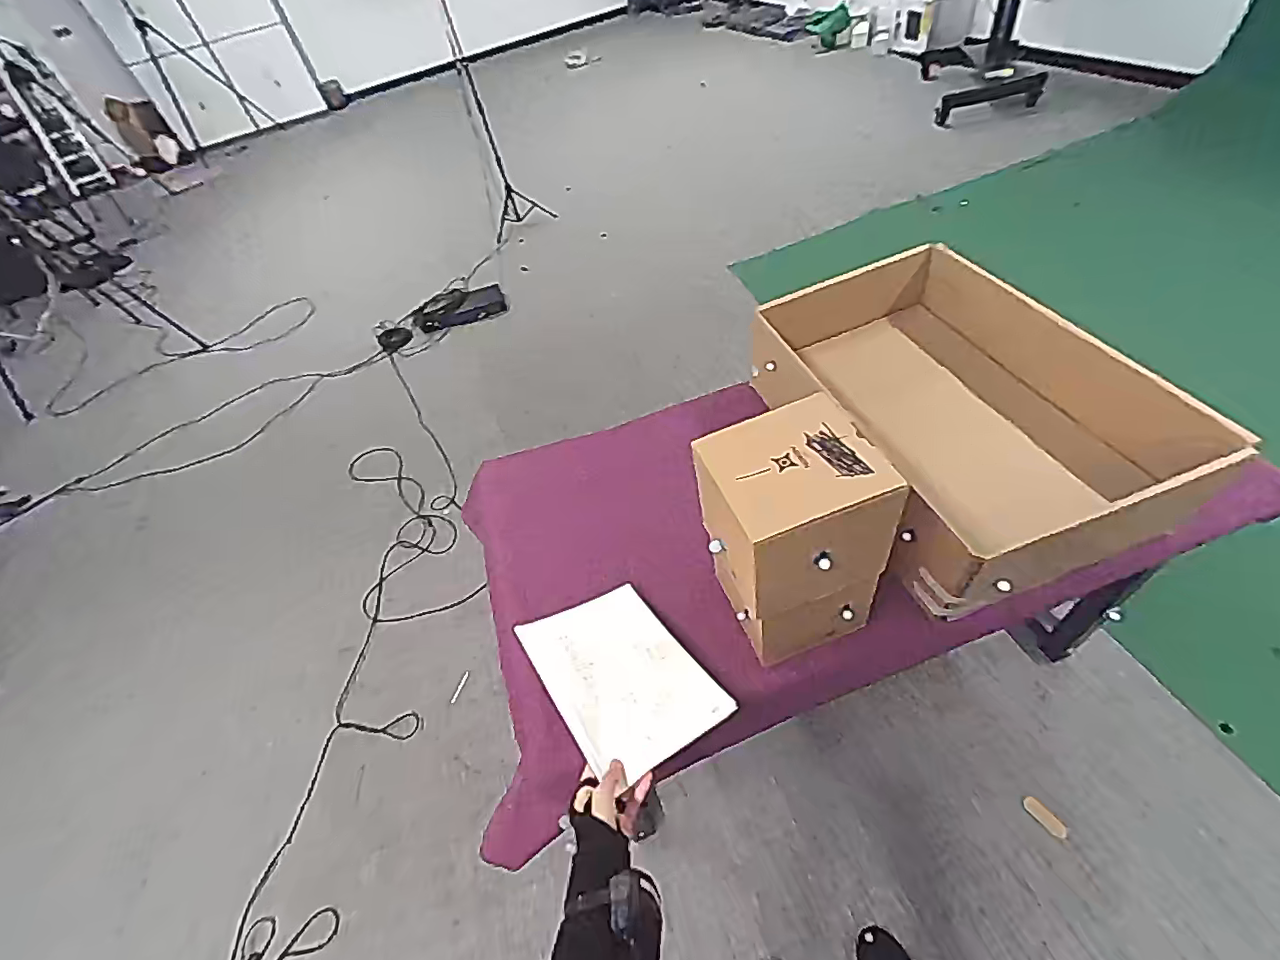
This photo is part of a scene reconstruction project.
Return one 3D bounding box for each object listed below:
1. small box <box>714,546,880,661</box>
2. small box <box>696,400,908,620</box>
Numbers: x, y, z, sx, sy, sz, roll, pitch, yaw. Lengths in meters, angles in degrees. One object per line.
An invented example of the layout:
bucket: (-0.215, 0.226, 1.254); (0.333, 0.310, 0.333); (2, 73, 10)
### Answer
small box: (0.215, 0.137, 0.778); (0.168, 0.176, 0.179); (-20, 46, -4)
small box: (0.182, 0.039, 0.650); (0.179, 0.176, 0.168); (-20, 47, -4)
